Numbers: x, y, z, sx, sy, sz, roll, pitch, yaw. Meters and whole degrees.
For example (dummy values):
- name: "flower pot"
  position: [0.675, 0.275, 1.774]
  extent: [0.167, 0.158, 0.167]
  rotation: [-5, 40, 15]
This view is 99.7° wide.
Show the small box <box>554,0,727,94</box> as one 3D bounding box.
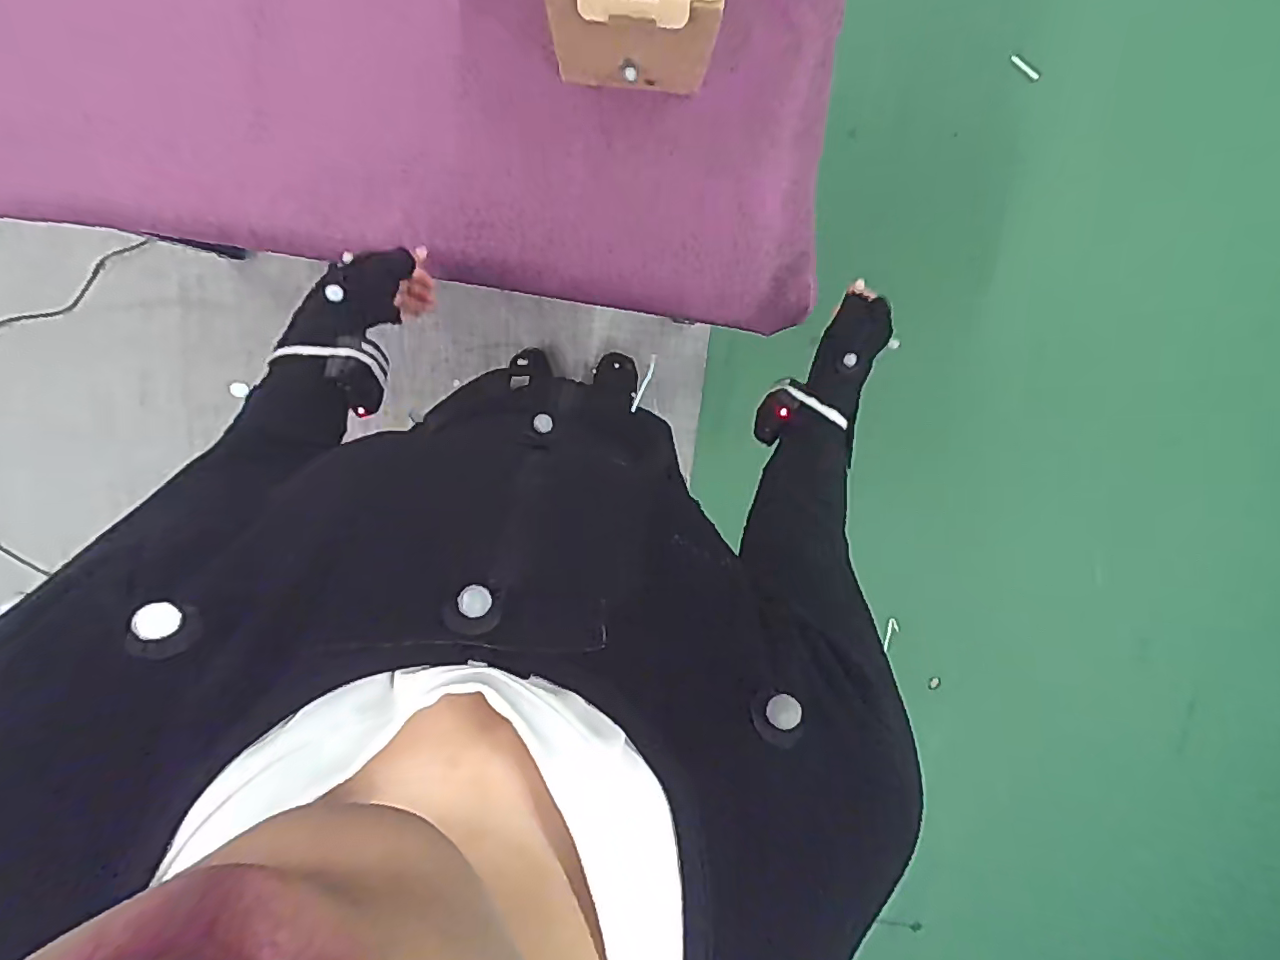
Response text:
- name: "small box"
  position: [0.001, -0.532, 0.542]
  extent: [0.168, 0.176, 0.179]
  rotation: [4, 103, -3]
